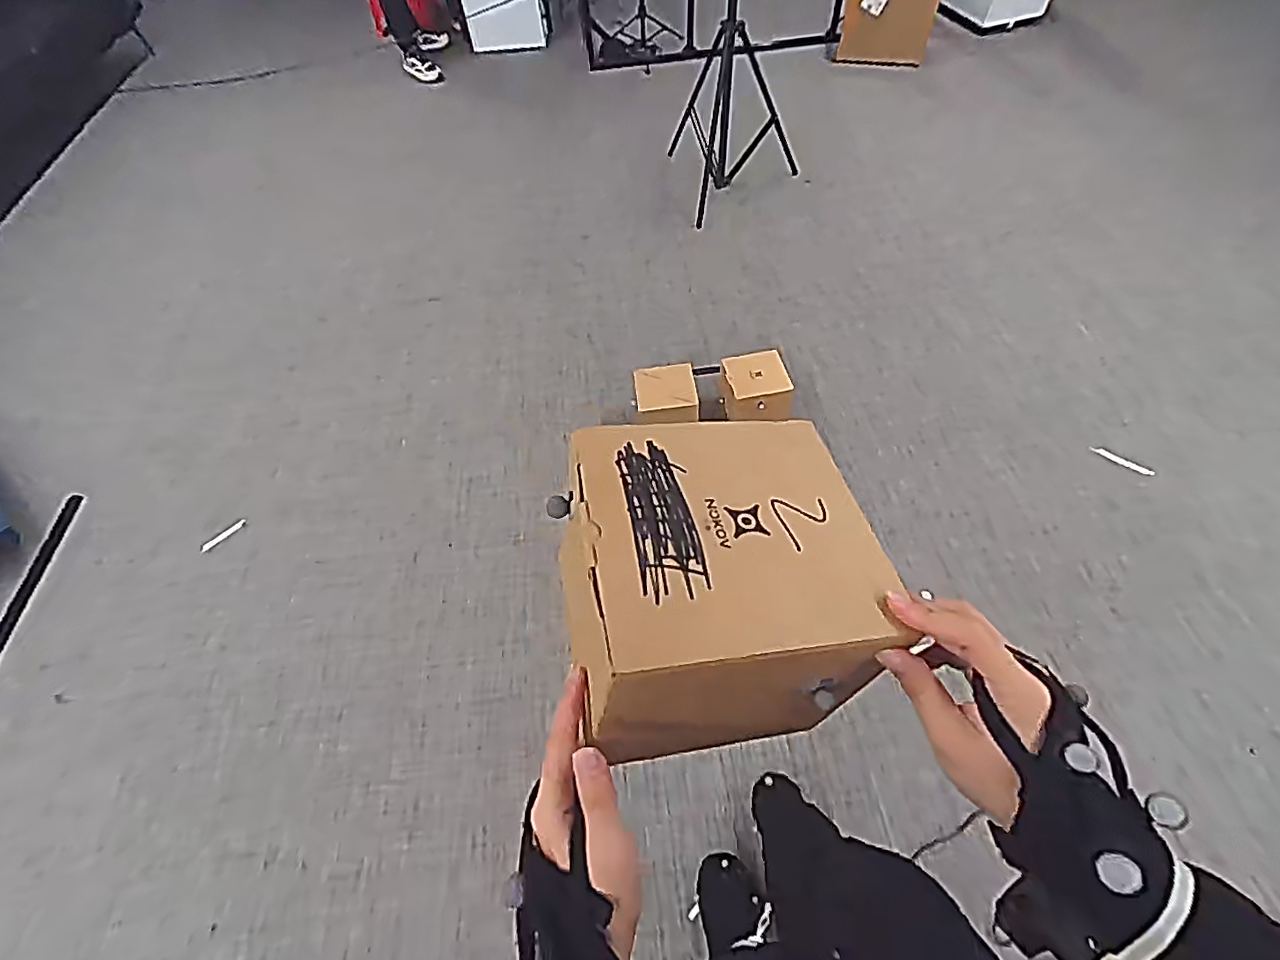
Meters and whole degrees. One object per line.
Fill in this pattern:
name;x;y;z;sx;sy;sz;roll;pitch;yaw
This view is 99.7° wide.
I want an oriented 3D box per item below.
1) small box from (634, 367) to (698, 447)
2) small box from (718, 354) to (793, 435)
small box;0.079;-0.224;1.649;0.179;0.176;0.168;-6;57;-1
small box;0.346;-0.259;1.659;0.179;0.176;0.168;-11;57;-4
